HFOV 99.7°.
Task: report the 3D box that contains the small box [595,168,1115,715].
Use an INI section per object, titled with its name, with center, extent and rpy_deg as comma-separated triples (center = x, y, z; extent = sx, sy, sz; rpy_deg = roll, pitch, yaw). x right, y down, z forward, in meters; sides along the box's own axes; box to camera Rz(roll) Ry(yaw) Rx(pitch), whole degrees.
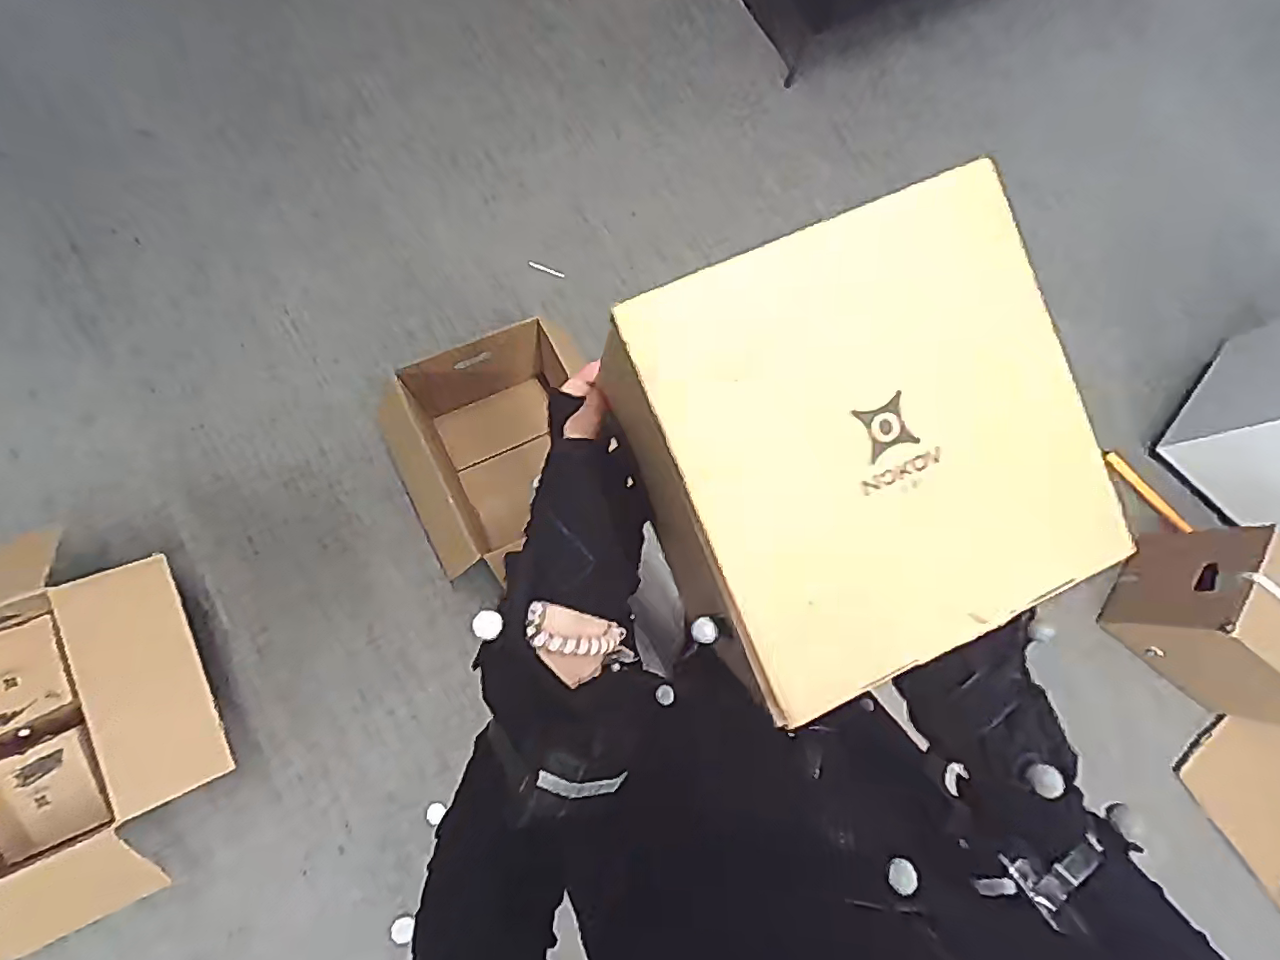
[small box]
center = 0.083, -0.018, 0.292
extent = 0.168, 0.176, 0.179
rpy_deg = -23, 94, -7
